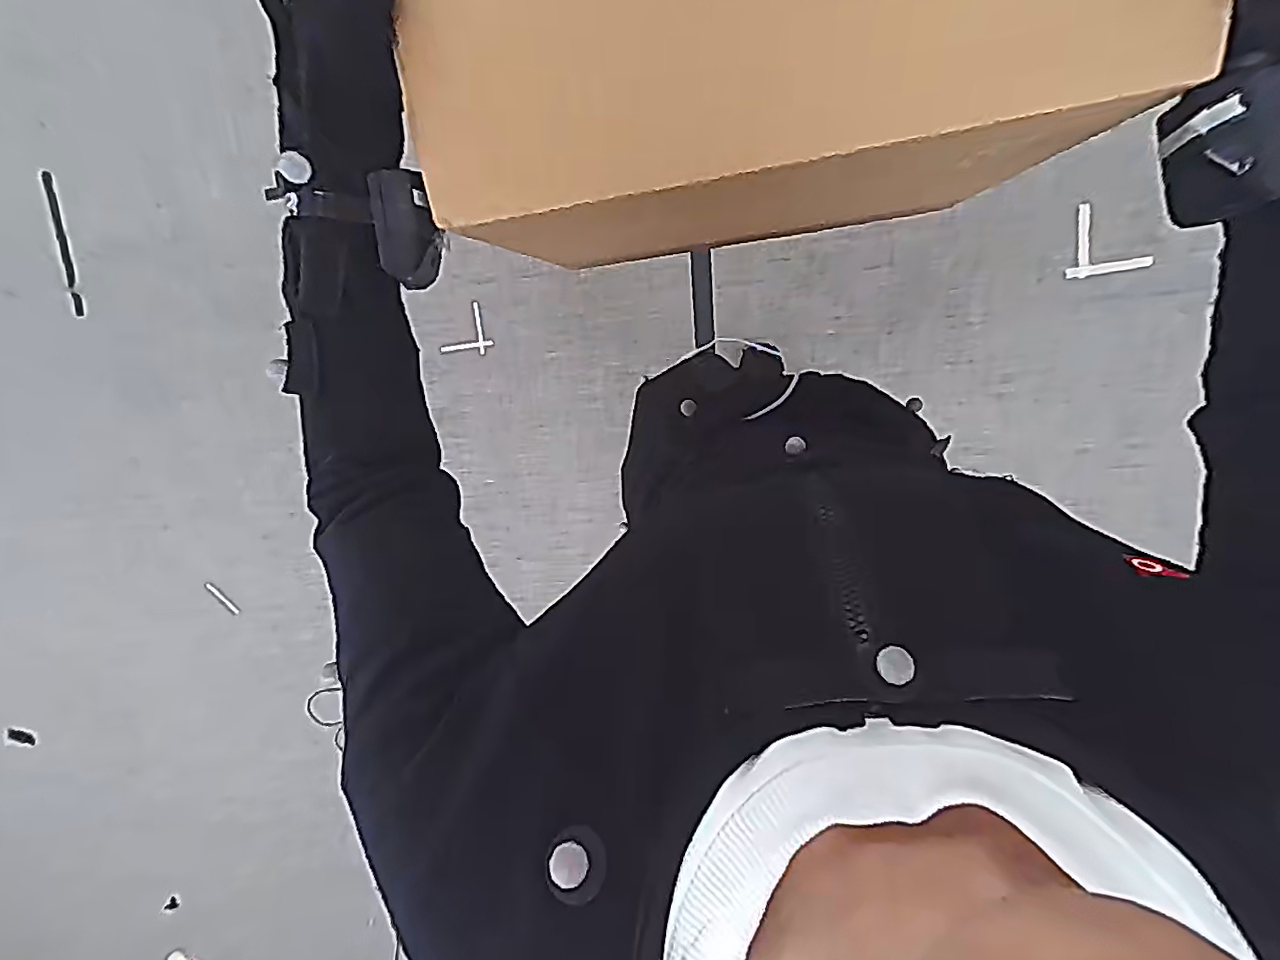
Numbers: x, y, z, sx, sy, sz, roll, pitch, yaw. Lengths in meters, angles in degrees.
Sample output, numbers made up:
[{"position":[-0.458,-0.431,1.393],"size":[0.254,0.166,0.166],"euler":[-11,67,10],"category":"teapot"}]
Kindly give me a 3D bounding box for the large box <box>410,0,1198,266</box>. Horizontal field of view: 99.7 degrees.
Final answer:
[{"position":[0.075,-0.370,0.405],"size":[0.408,0.320,0.320],"euler":[-6,106,9],"category":"large box"}]
